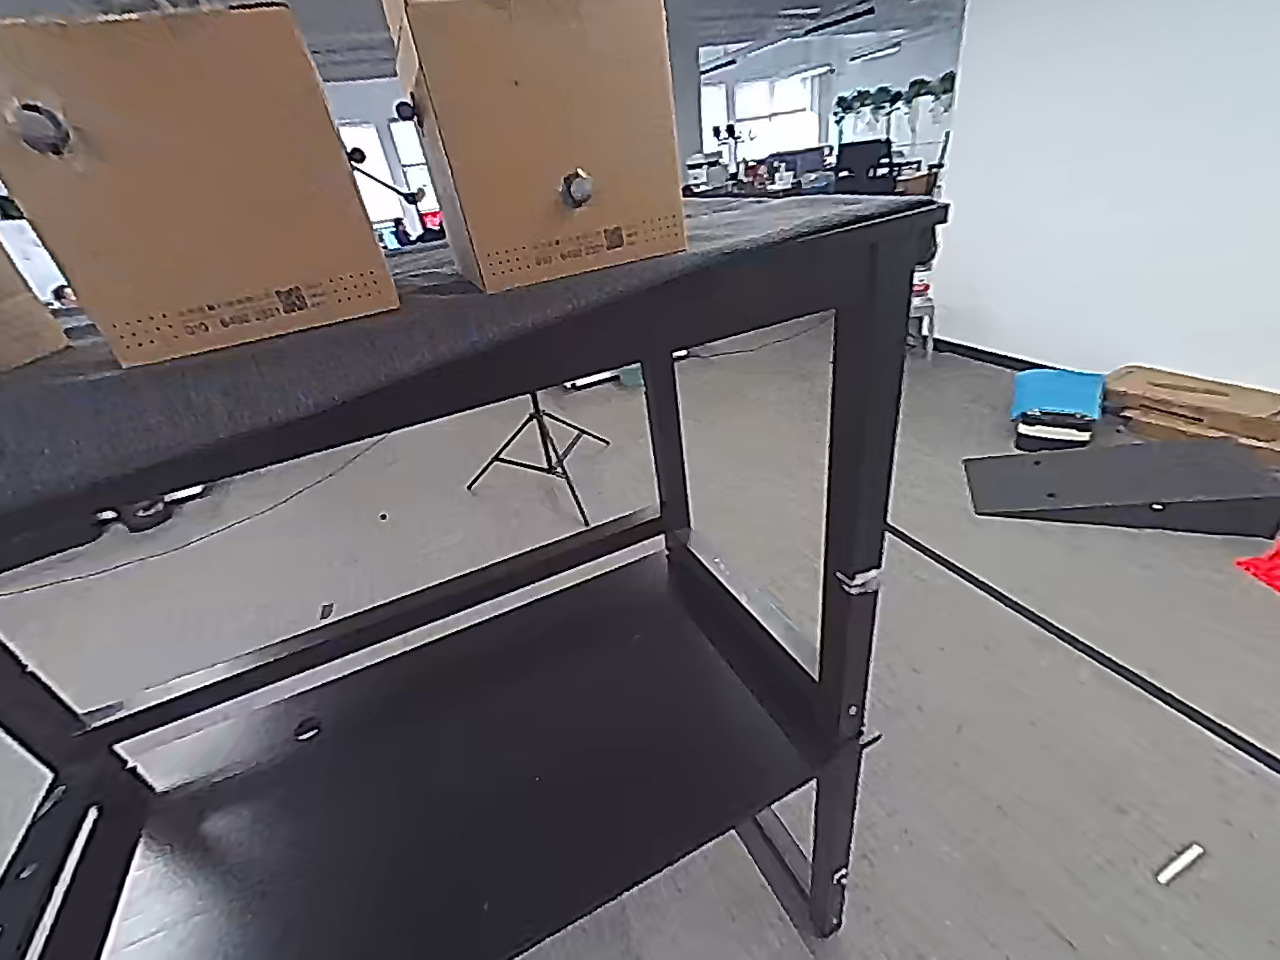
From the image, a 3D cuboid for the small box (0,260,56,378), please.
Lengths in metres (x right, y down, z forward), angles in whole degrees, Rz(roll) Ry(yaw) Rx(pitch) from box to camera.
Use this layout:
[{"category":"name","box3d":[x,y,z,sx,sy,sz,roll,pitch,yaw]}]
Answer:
[{"category":"small box","box3d":[-0.523,-0.118,0.316,0.168,0.176,0.179,-18,30,-15]}]

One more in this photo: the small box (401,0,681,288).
[{"category":"small box","box3d":[-0.081,-0.262,0.440,0.168,0.176,0.179,-20,31,-16]}]
